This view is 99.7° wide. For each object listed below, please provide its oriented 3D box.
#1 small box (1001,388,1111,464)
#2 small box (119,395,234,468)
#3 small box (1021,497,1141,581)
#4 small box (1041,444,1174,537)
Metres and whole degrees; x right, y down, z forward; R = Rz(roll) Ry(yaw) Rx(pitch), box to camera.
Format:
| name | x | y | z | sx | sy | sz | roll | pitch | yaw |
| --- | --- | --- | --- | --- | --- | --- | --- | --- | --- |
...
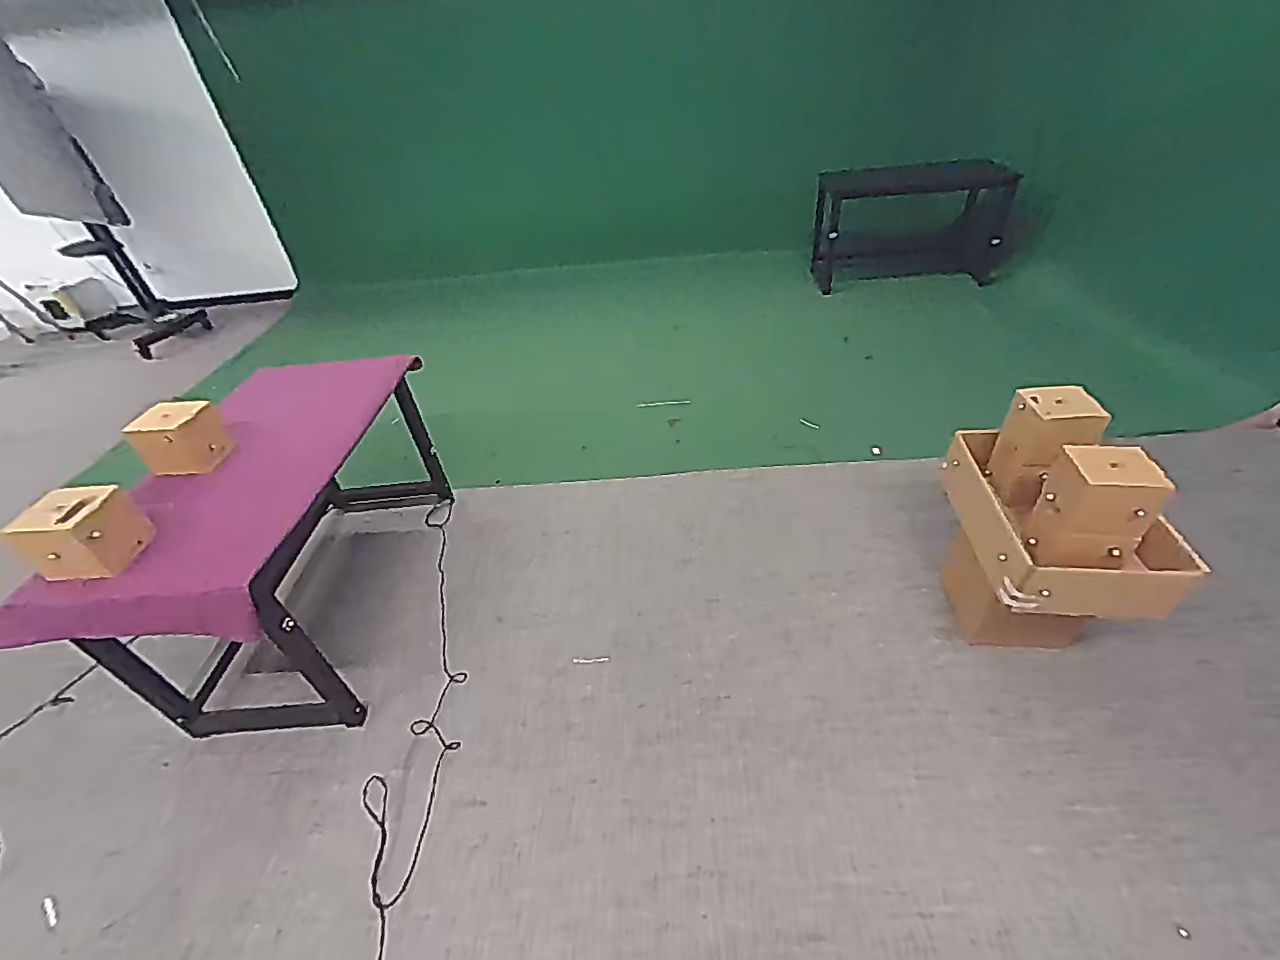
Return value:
| name | x | y | z | sx | sy | sz | roll | pitch | yaw |
| --- | --- | --- | --- | --- | --- | --- | --- | --- | --- |
| small box | 1.214 | -0.158 | 1.594 | 0.179 | 0.176 | 0.168 | -1 | 39 | 6 |
| small box | -1.432 | -0.148 | 1.684 | 0.179 | 0.176 | 0.168 | -1 | 39 | 3 |
| small box | 1.187 | 0.157 | 1.472 | 0.179 | 0.176 | 0.168 | 4 | 40 | 12 |
| small box | 1.174 | 0.028 | 1.374 | 0.179 | 0.176 | 0.168 | 3 | 40 | 11 |
